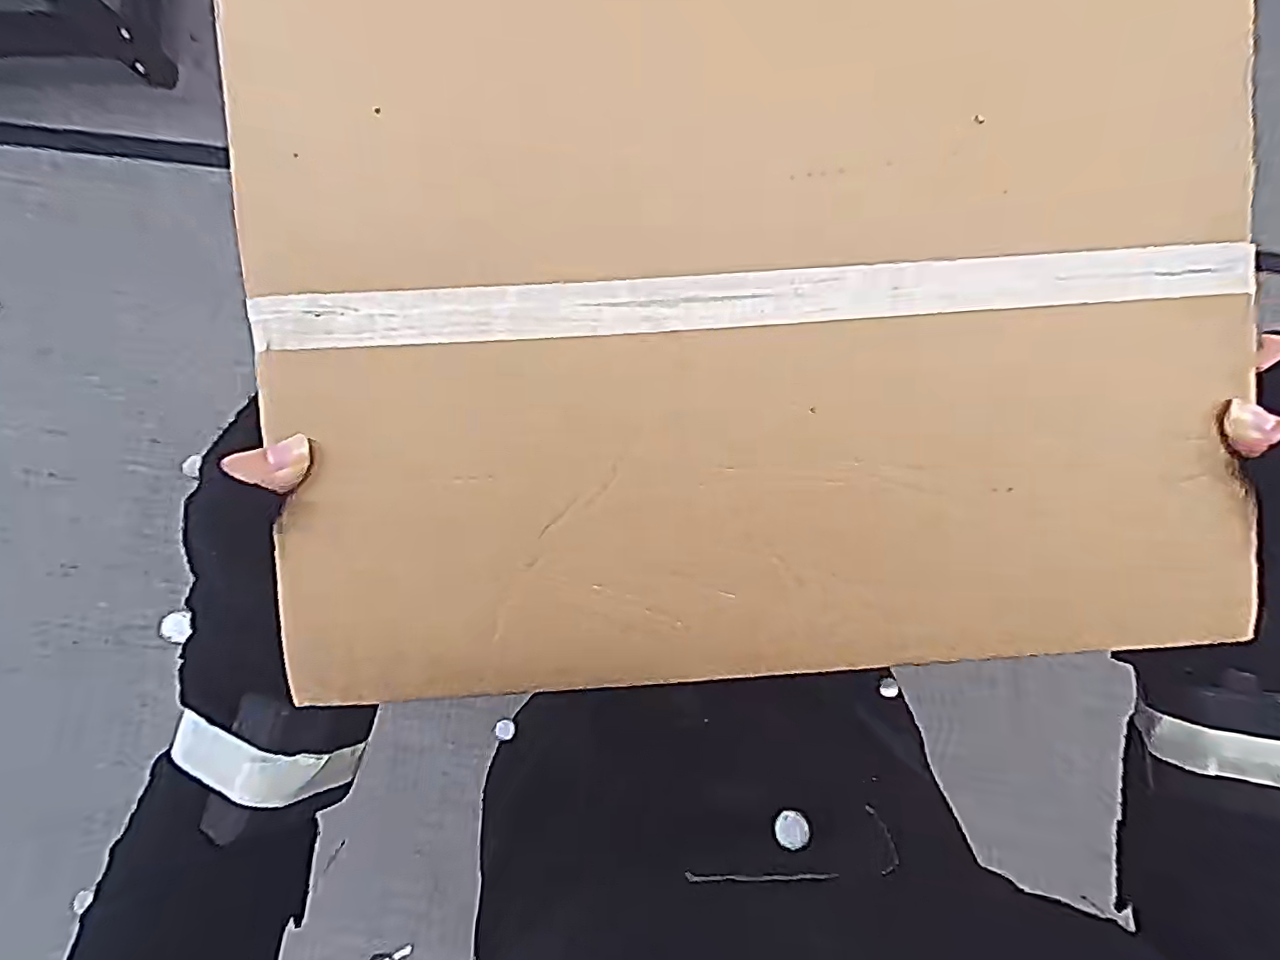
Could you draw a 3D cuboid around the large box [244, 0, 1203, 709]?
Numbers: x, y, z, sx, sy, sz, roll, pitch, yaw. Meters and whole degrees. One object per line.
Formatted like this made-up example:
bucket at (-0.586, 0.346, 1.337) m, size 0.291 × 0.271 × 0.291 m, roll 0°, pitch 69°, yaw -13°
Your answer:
large box at (0.043, -0.074, 0.381) m, size 0.408 × 0.320 × 0.320 m, roll -4°, pitch 92°, yaw -1°
